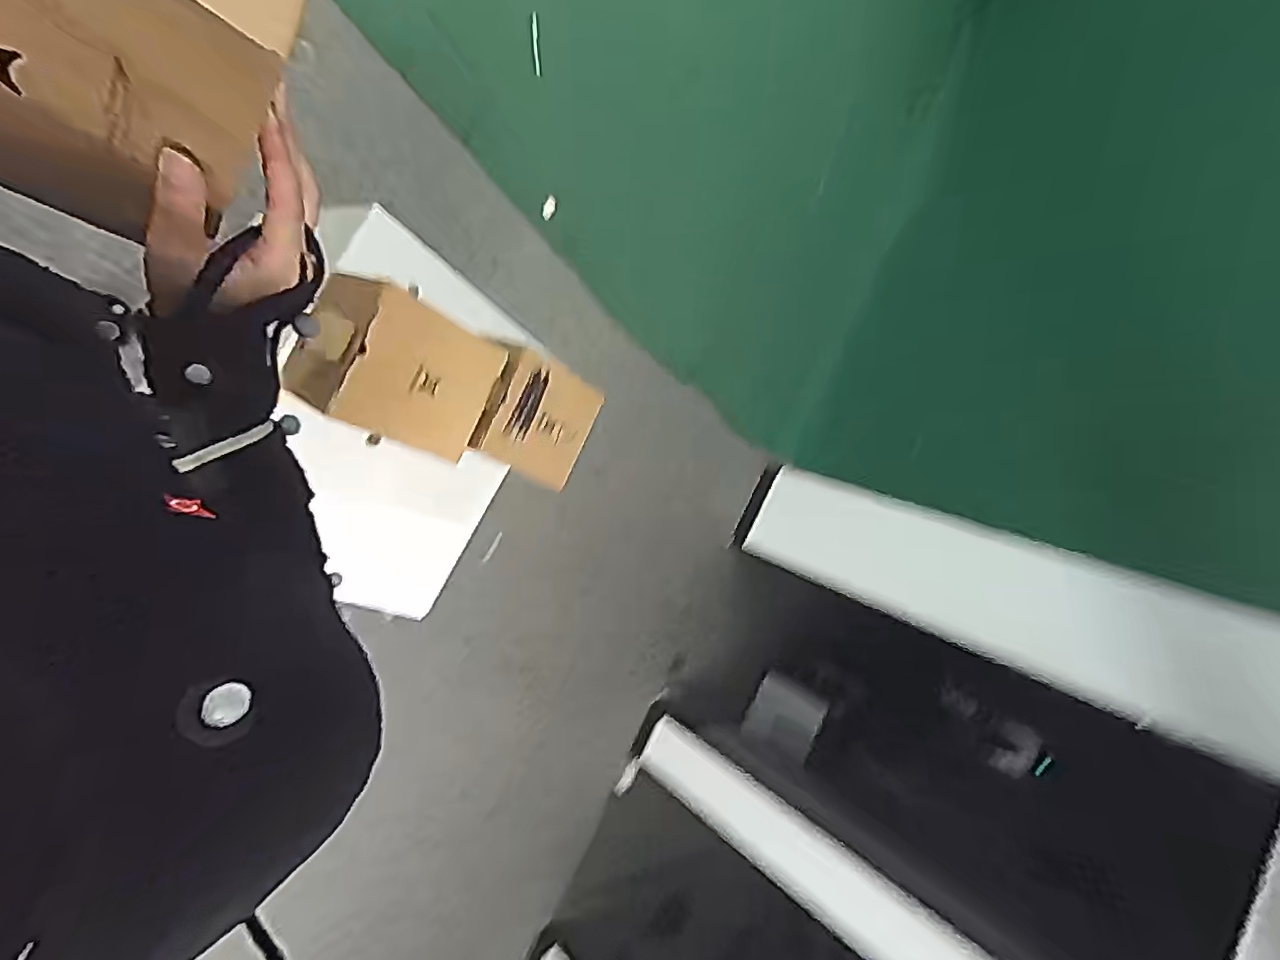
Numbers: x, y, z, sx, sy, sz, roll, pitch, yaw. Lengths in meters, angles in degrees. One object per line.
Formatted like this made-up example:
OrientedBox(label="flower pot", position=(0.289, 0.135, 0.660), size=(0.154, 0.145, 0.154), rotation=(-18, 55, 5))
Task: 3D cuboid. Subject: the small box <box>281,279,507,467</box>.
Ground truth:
OrientedBox(label="small box", position=(-0.314, -0.140, 0.696), size=(0.179, 0.176, 0.168), rotation=(29, 86, -52))
